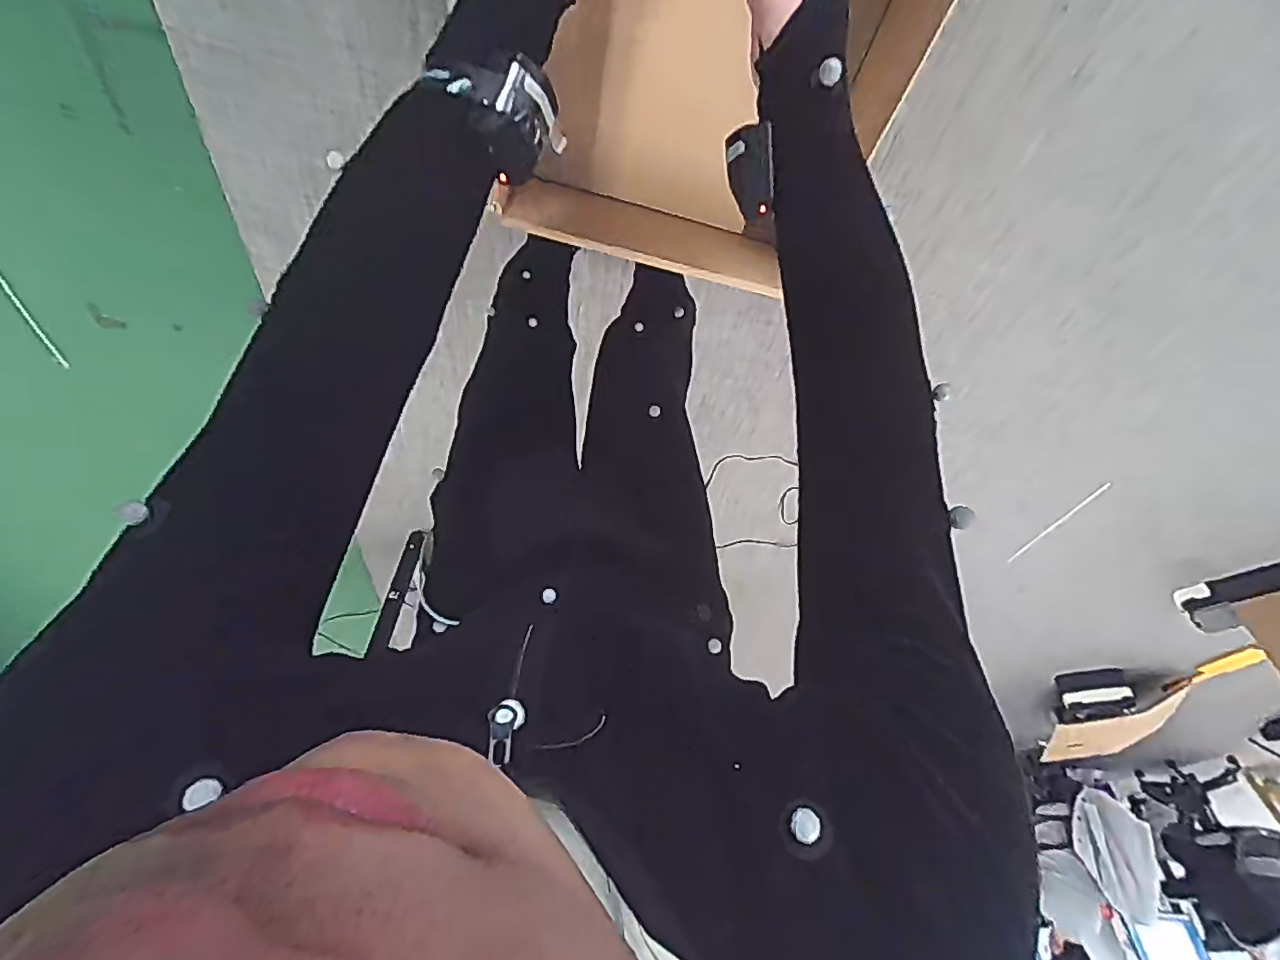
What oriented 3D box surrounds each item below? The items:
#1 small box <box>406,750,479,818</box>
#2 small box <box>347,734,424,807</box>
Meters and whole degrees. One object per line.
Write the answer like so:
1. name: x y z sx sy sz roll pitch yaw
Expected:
1. small box: -0.643 1.001 1.781 0.168 0.176 0.179 2 140 0
2. small box: -0.776 0.890 1.656 0.168 0.176 0.179 20 139 -22
